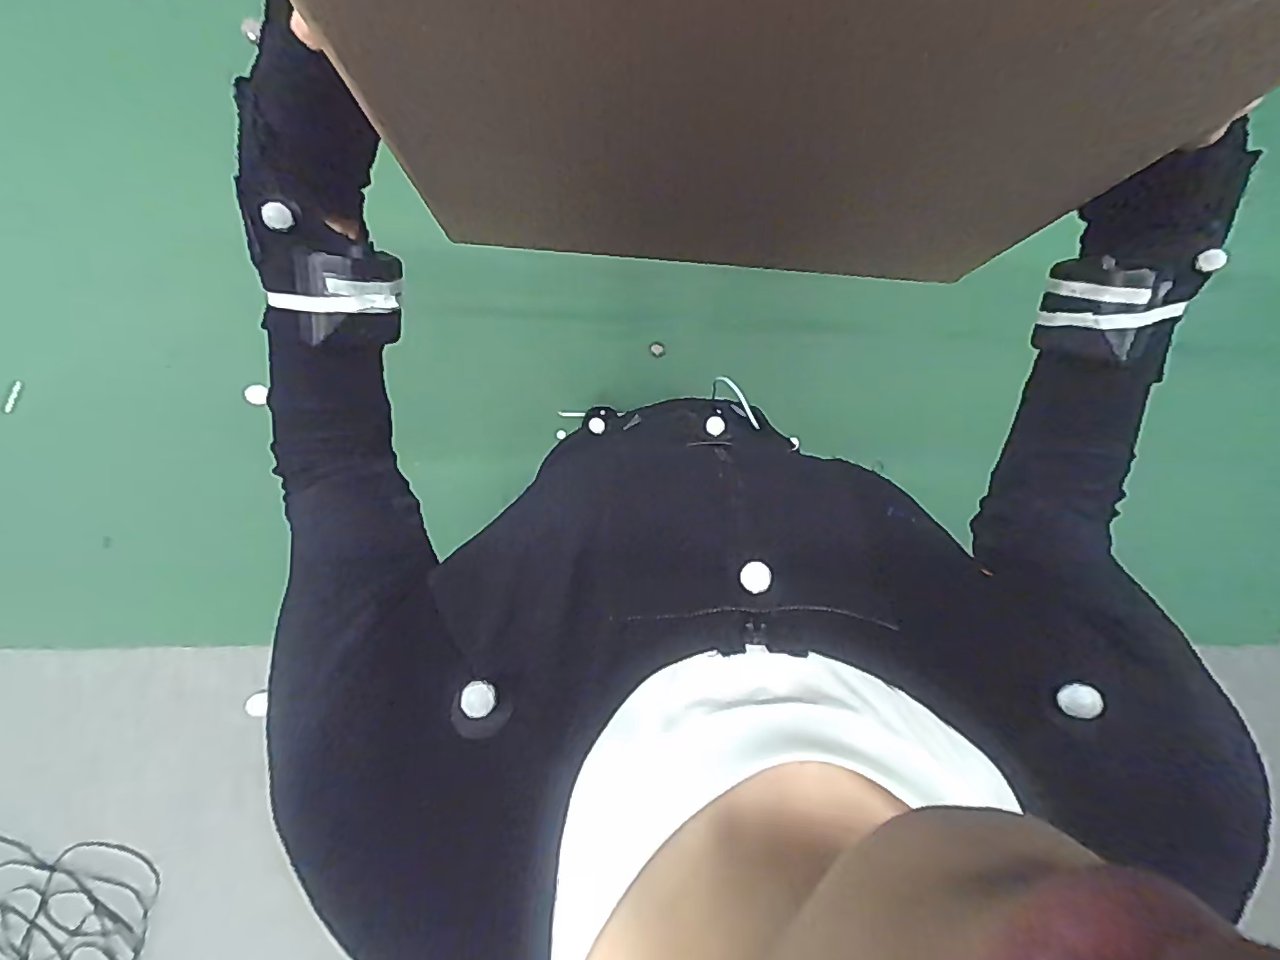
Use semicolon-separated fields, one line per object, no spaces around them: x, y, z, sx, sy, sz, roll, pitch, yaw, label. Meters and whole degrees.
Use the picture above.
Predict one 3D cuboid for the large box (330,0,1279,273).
0.073;-0.330;0.280;0.408;0.320;0.320;4;89;-4;large box
